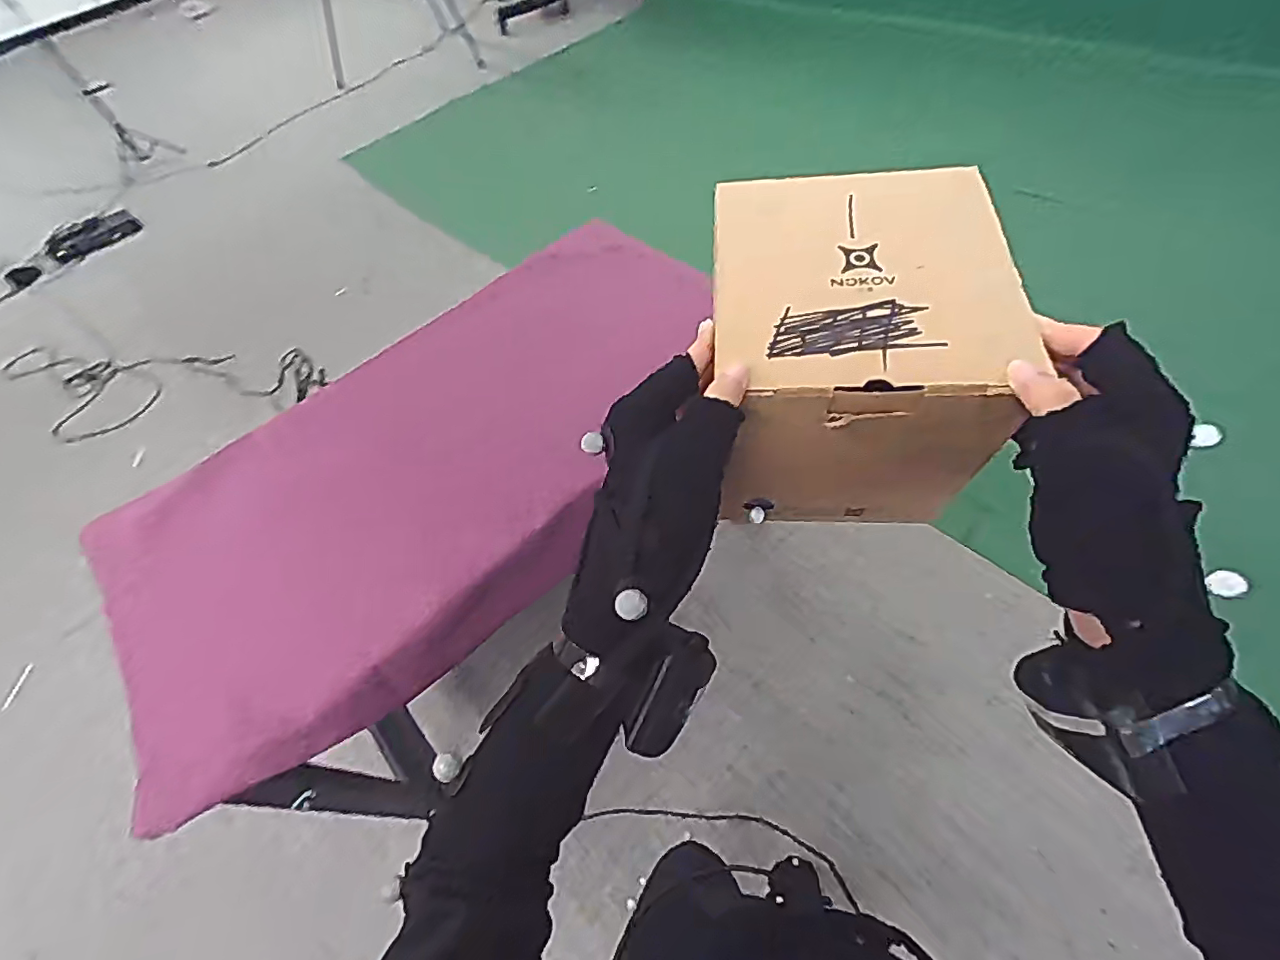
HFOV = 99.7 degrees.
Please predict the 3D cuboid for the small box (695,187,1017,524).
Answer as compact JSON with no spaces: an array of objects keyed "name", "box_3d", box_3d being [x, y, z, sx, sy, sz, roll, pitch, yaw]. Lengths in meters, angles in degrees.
[{"name":"small box","box_3d":[0.127,-0.077,0.394,0.168,0.176,0.179,0,60,7]}]
